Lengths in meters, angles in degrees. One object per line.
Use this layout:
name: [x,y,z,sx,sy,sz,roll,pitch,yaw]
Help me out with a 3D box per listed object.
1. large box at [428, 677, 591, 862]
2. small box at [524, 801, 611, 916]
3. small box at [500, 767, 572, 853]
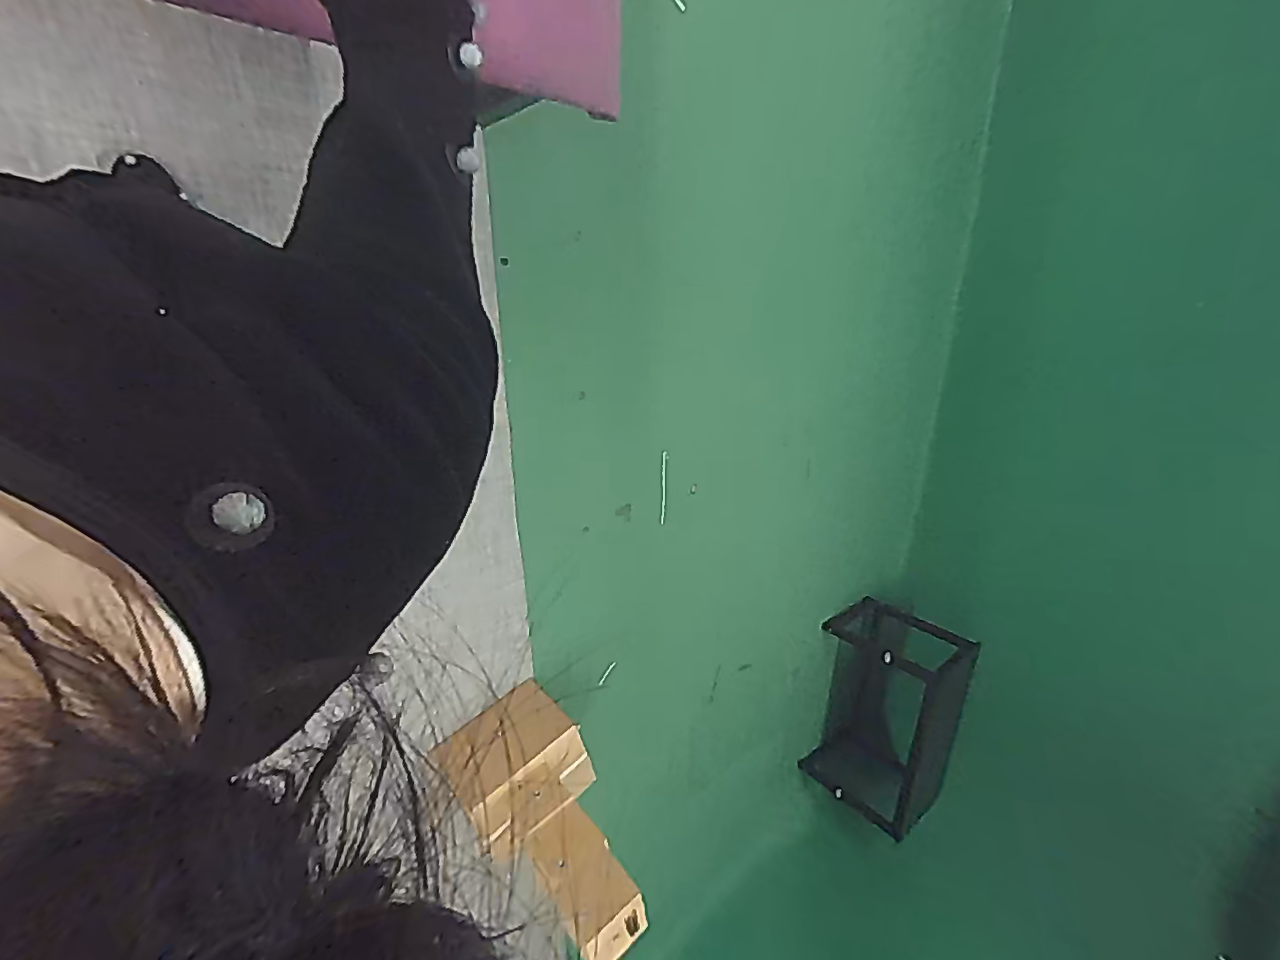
large box: [-0.448,0.982,1.879,0.408,0.320,0.320,-32,125,-32]
small box: [-0.210,1.080,1.560,0.179,0.176,0.168,-24,120,-33]
small box: [-0.313,1.030,1.675,0.168,0.176,0.179,-25,120,-33]
